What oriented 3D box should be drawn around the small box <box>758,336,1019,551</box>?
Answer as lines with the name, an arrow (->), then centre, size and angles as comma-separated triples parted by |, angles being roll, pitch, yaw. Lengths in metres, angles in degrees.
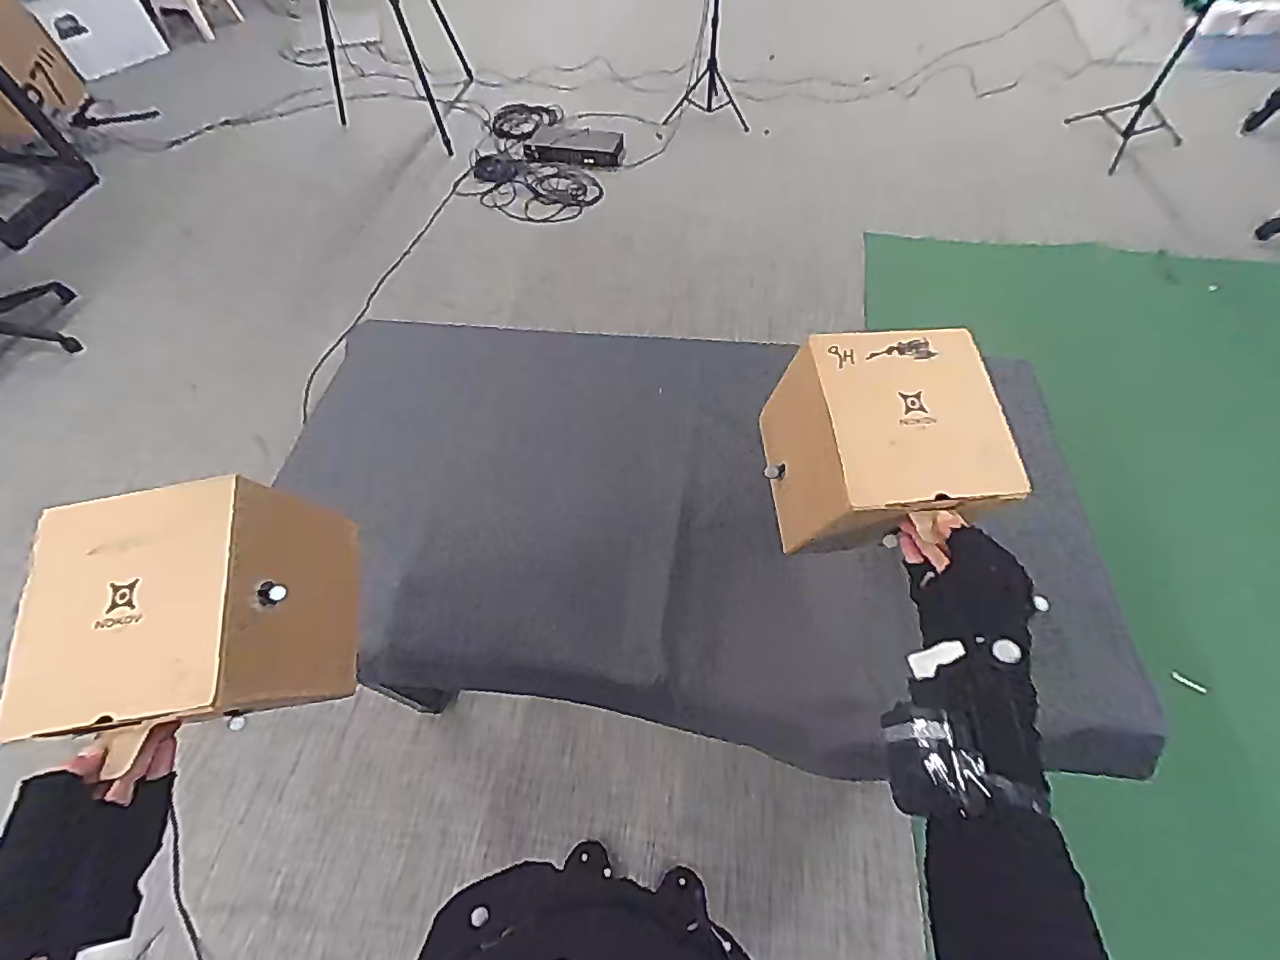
small box -> 0.235, -0.027, 0.564 | 0.168, 0.176, 0.179 | -3, 69, -6

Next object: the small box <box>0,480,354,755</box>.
small box -> -0.374, 0.119, 0.470 | 0.168, 0.176, 0.179 | -11, 70, 1
